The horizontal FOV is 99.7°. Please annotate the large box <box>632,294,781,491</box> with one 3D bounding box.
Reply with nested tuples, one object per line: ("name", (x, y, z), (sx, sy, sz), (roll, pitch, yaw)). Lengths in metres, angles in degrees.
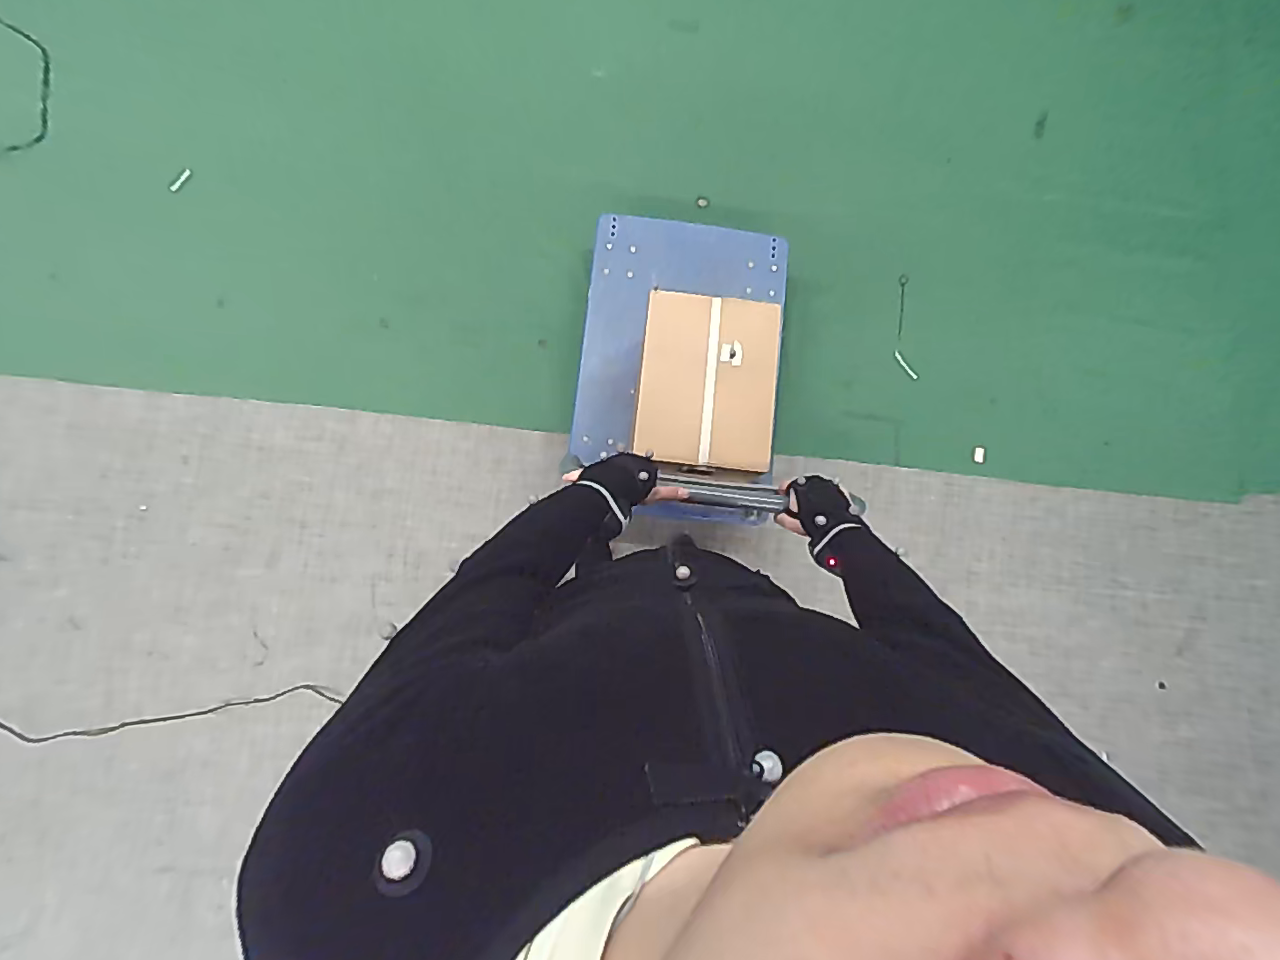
("large box", (0.152, -0.197, 1.367), (0.320, 0.320, 0.408), (6, 81, -3))
